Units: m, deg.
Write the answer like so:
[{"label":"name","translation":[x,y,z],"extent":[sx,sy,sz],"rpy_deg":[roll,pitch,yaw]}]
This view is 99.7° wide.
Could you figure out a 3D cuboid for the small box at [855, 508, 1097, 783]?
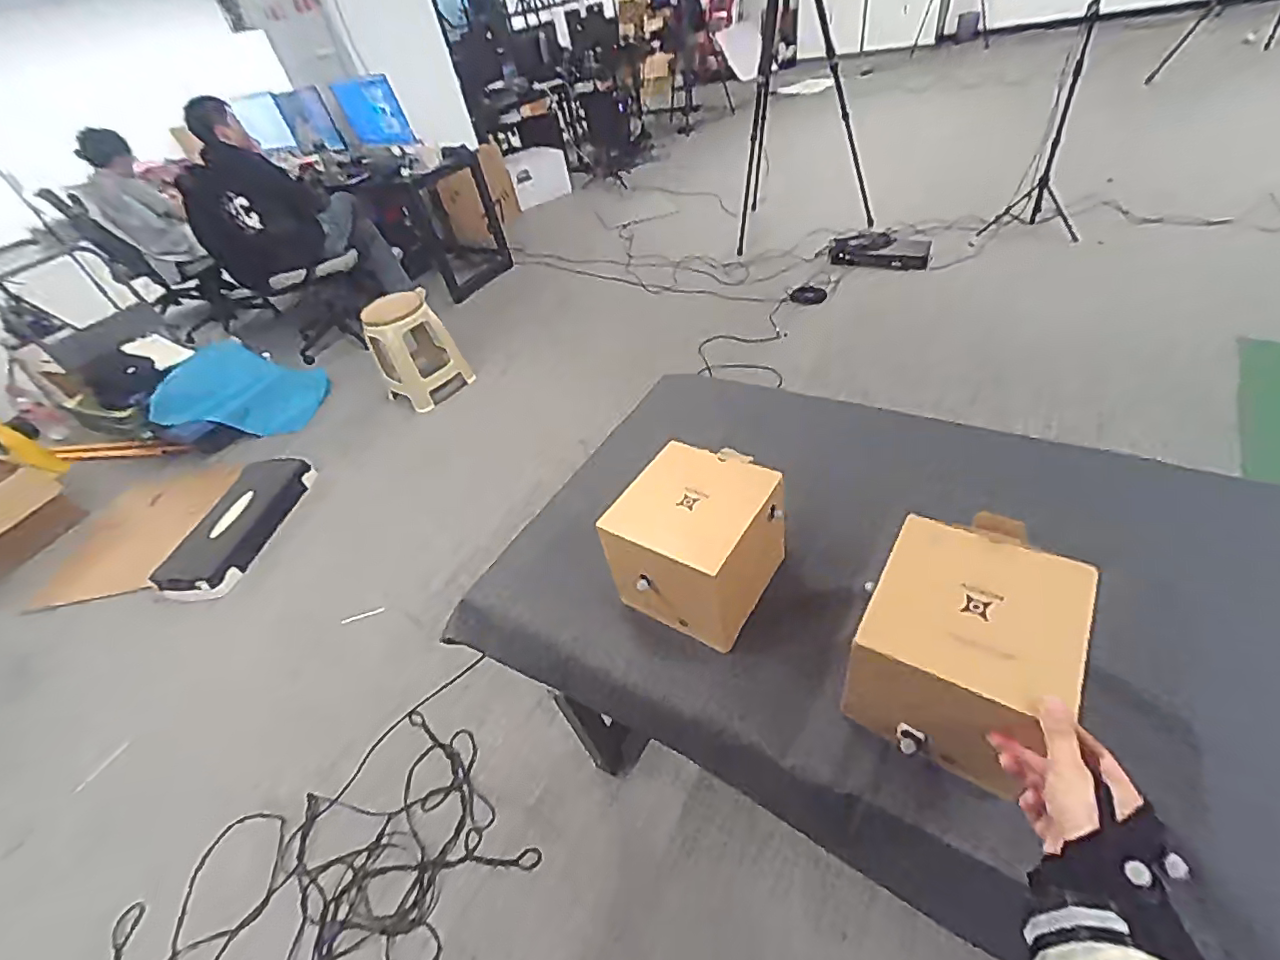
[{"label":"small box","translation":[0.324,0.163,0.545],"extent":[0.168,0.176,0.179],"rpy_deg":[16,54,30]}]

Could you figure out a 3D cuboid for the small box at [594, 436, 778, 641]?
[{"label":"small box","translation":[0.071,0.074,0.699],"extent":[0.168,0.176,0.179],"rpy_deg":[19,50,30]}]
